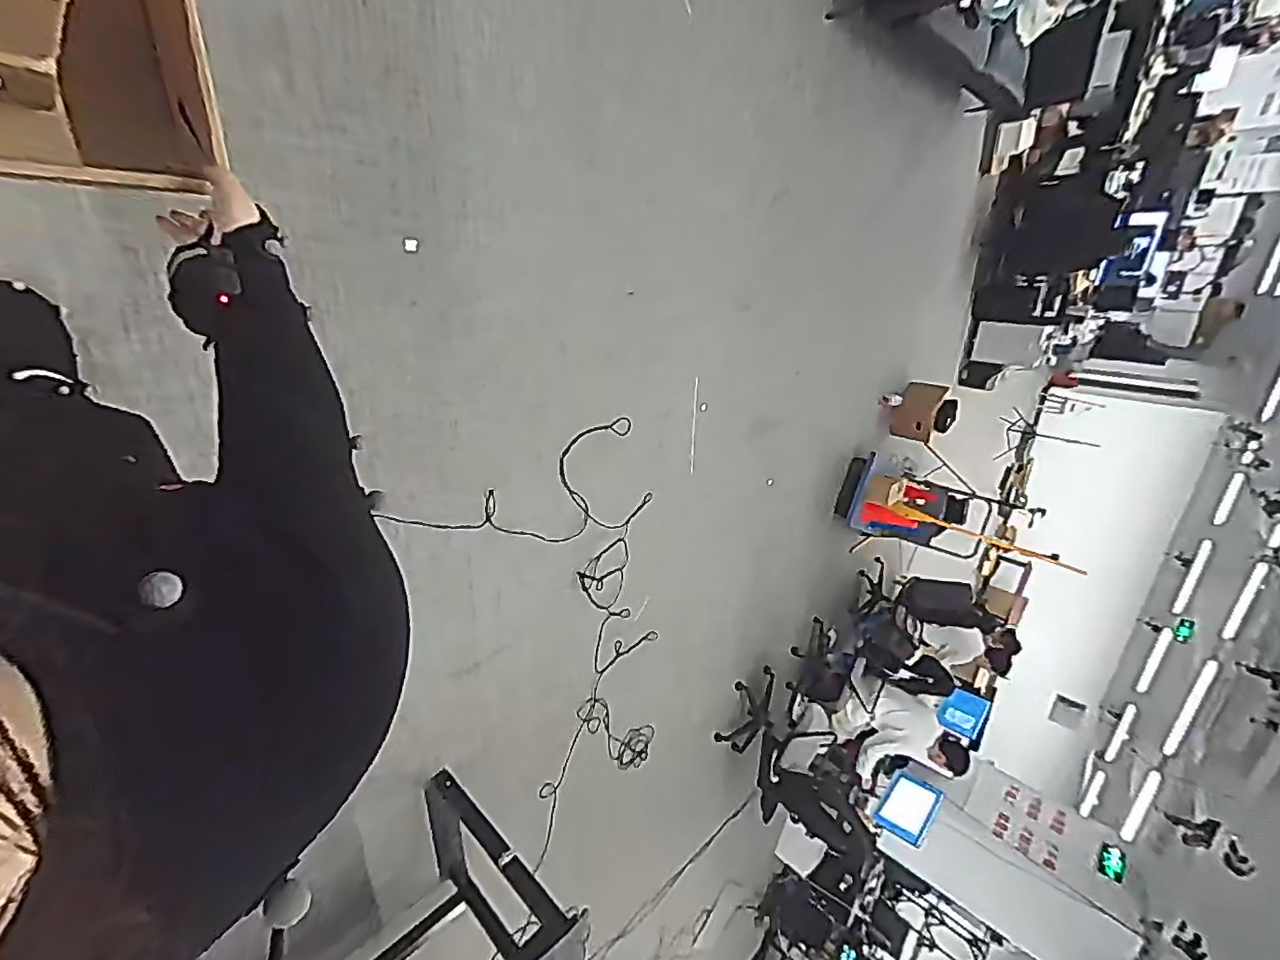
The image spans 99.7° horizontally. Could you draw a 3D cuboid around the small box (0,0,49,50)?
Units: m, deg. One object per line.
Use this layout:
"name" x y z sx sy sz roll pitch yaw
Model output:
"small box" -0.466 -0.364 0.290 0.179 0.176 0.168 -22 122 -43
